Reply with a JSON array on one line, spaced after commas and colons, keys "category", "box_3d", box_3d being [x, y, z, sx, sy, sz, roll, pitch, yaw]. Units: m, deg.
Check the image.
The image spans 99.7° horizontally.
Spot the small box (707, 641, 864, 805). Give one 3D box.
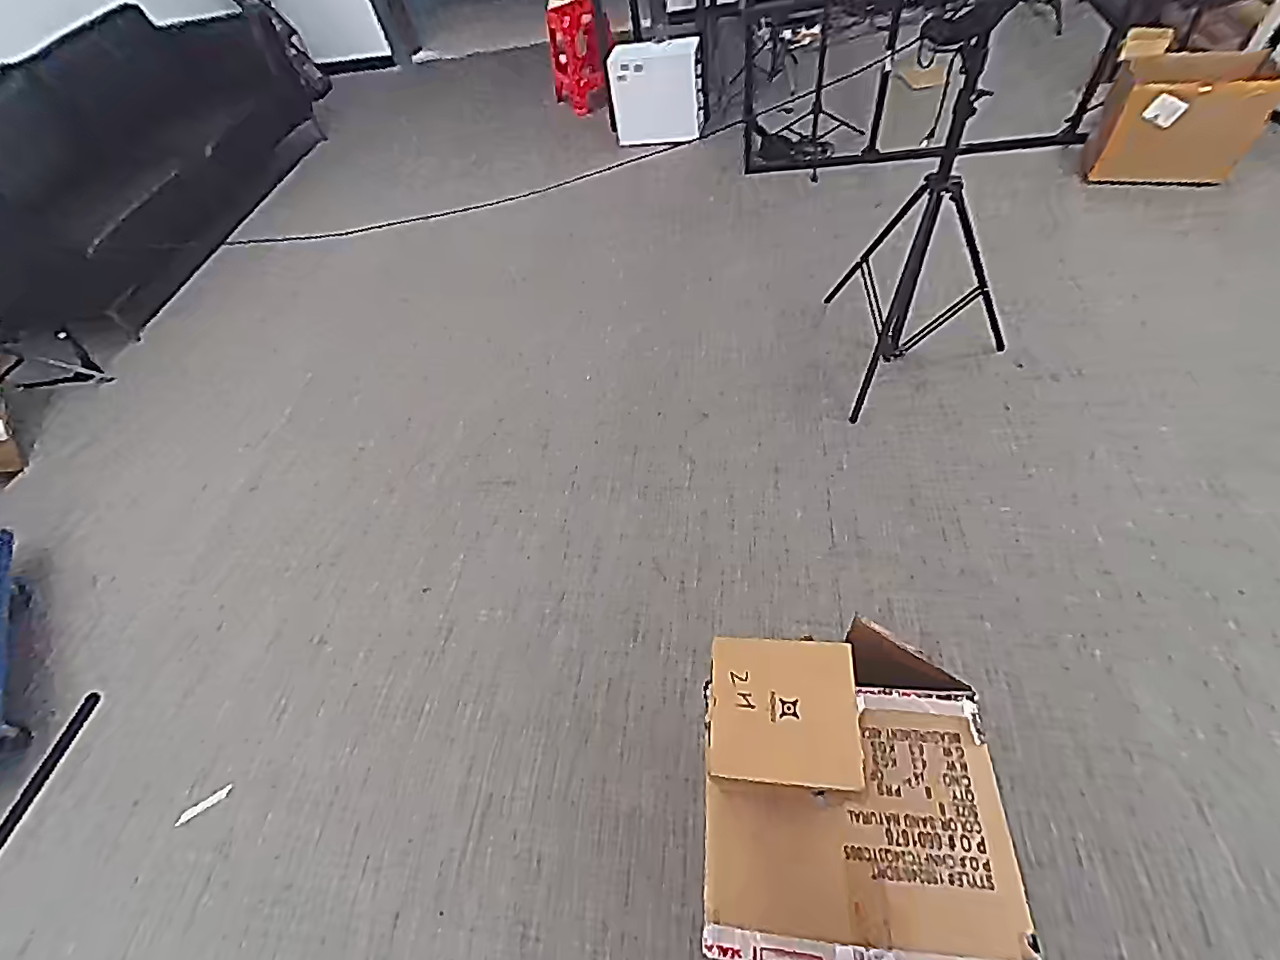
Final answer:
[{"category": "small box", "box_3d": [0.187, 0.326, 0.721, 0.179, 0.176, 0.168, -1, 55, 13]}]
